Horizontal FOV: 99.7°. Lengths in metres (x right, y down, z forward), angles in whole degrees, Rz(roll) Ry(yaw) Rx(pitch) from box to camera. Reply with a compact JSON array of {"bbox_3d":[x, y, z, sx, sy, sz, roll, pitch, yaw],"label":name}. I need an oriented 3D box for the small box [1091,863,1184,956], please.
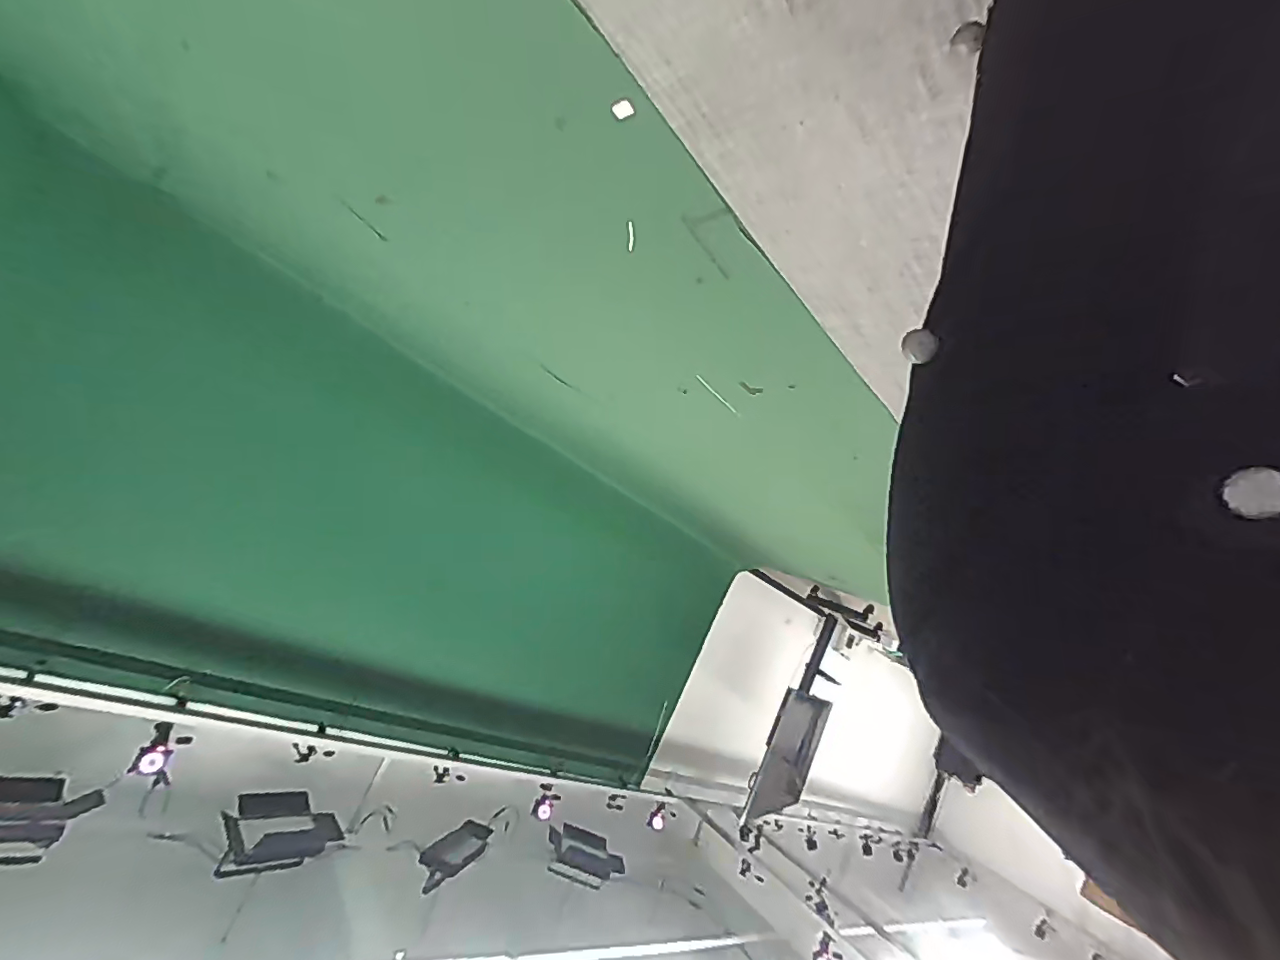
[{"bbox_3d":[1.581,1.352,1.717,0.168,0.176,0.179,33,169,-36],"label":"small box"}]
